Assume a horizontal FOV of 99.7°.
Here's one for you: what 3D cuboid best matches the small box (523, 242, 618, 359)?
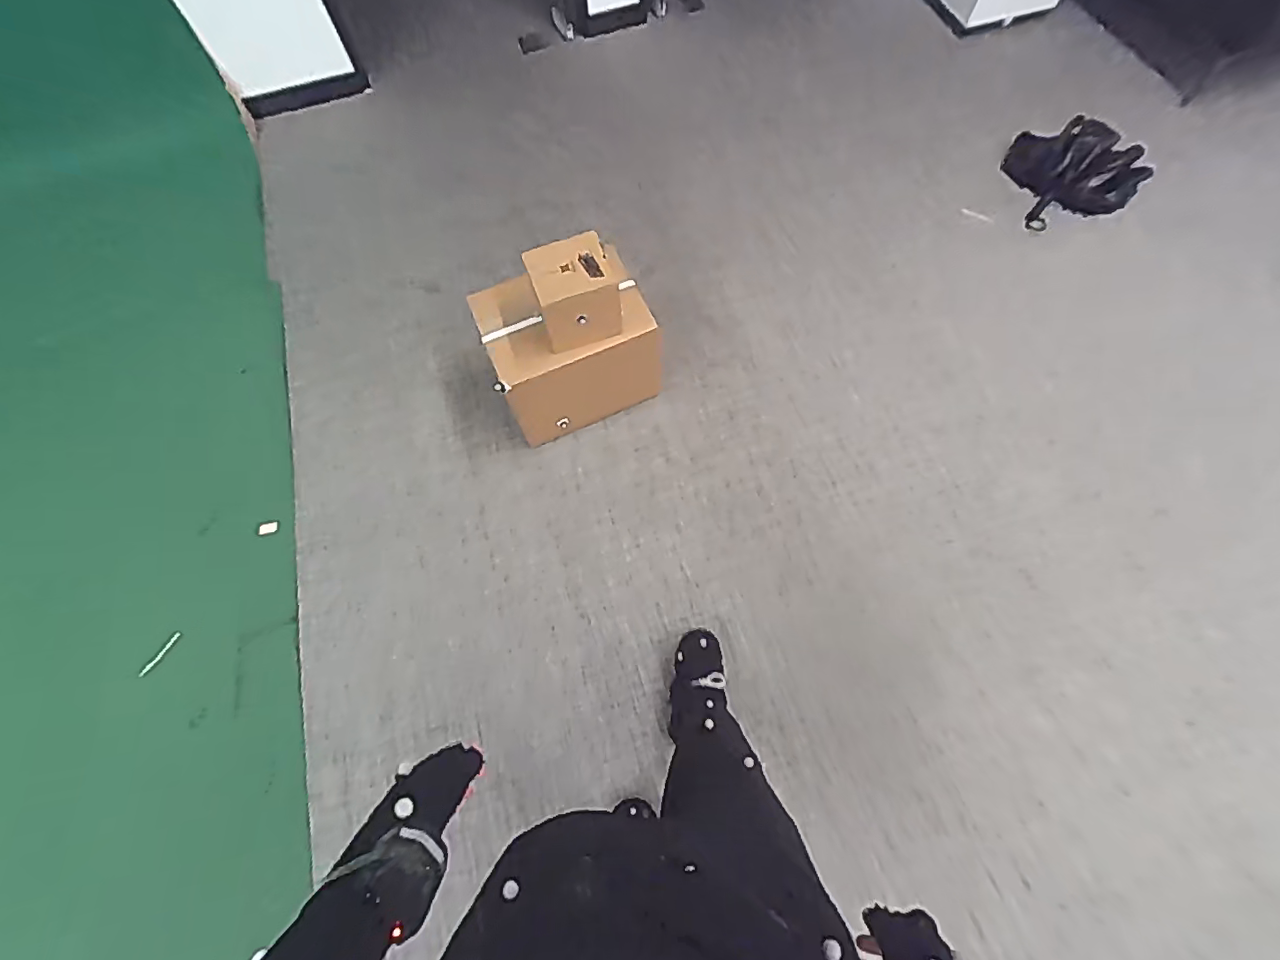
[{"bbox_3d":[-0.155,-0.414,1.266,0.179,0.176,0.168,-20,67,-5],"label":"small box"}]
